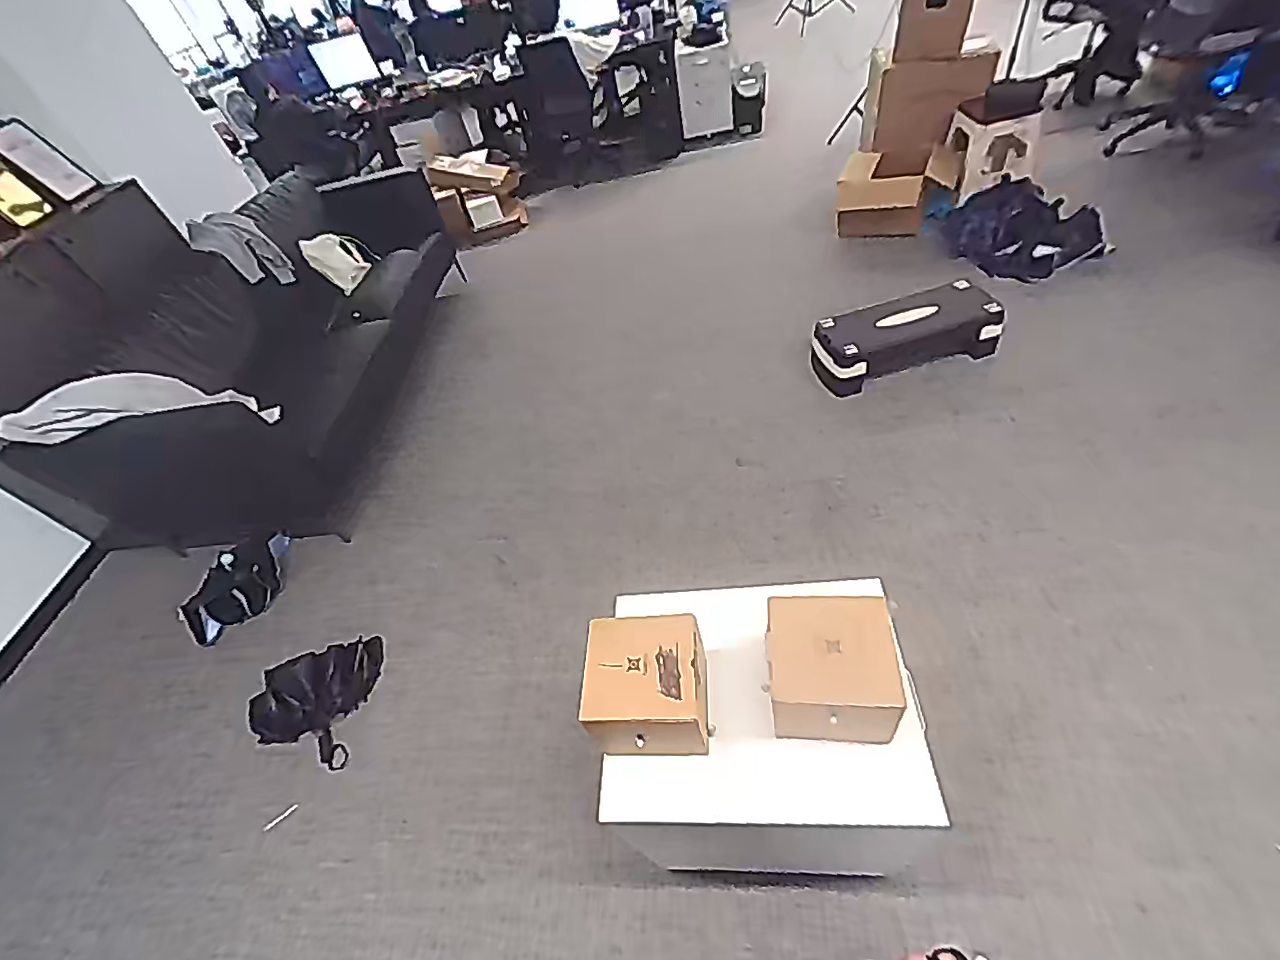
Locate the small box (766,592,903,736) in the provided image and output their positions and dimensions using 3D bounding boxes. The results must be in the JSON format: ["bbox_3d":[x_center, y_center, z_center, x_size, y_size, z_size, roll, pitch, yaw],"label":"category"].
[{"bbox_3d":[0.293,0.289,0.844,0.179,0.176,0.168,-3,50,13],"label":"small box"}]

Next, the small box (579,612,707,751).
[{"bbox_3d":[0.016,0.330,0.882,0.179,0.176,0.168,-6,48,11],"label":"small box"}]
